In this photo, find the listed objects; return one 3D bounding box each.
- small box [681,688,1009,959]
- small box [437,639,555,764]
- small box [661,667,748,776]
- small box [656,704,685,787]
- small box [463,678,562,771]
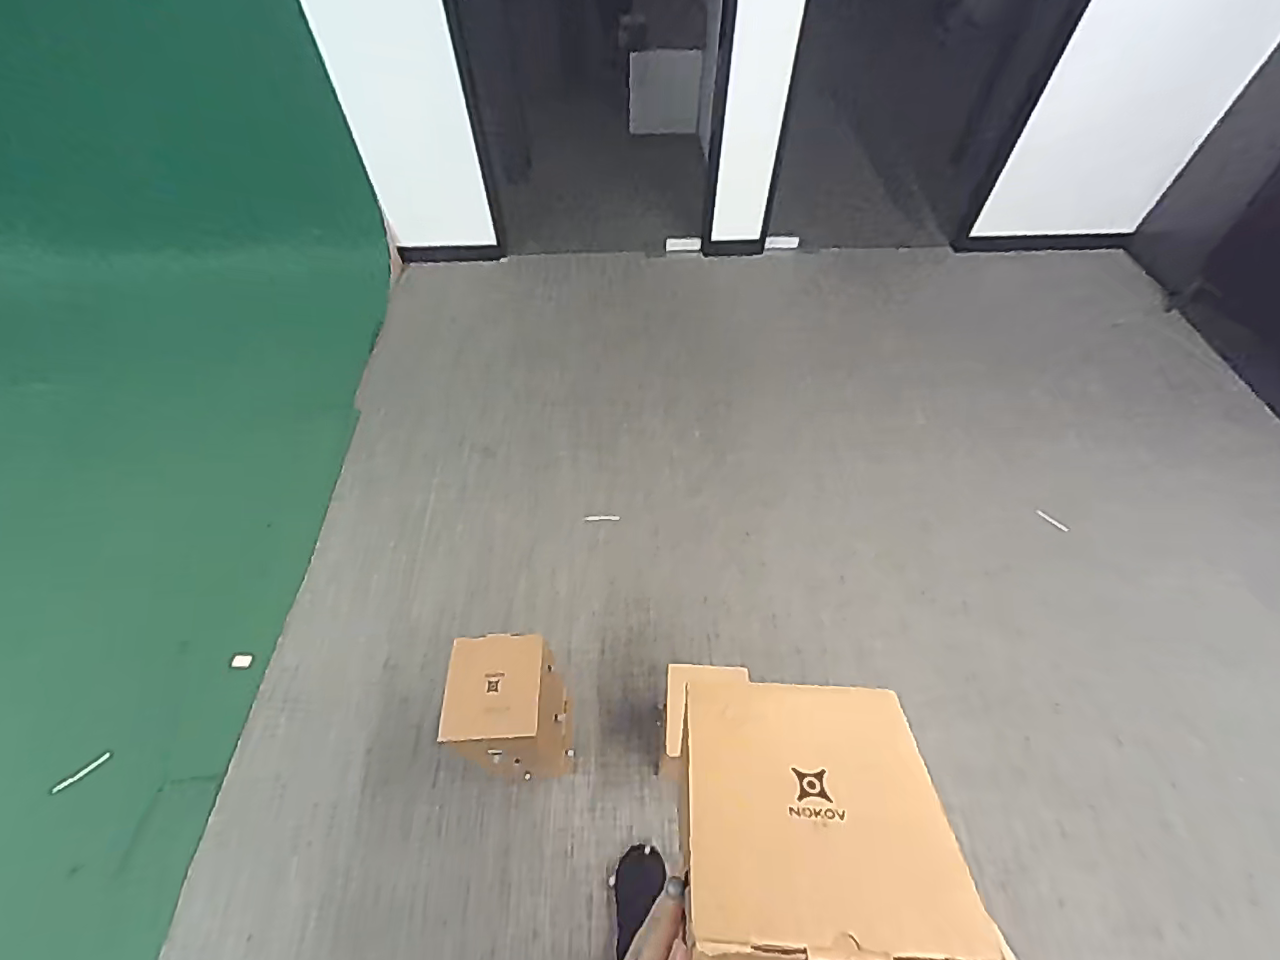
[{"bbox_3d":[0.117,0.283,0.396,0.168,0.176,0.179,2,30,2],"label":"small box"},{"bbox_3d":[-0.251,0.407,0.989,0.168,0.176,0.179,-3,55,-1],"label":"small box"},{"bbox_3d":[0.131,0.507,1.122,0.168,0.176,0.179,3,54,2],"label":"small box"},{"bbox_3d":[0.127,0.606,1.254,0.168,0.176,0.179,4,55,2],"label":"small box"},{"bbox_3d":[-0.255,0.499,1.123,0.168,0.176,0.179,-3,55,-2],"label":"small box"}]
